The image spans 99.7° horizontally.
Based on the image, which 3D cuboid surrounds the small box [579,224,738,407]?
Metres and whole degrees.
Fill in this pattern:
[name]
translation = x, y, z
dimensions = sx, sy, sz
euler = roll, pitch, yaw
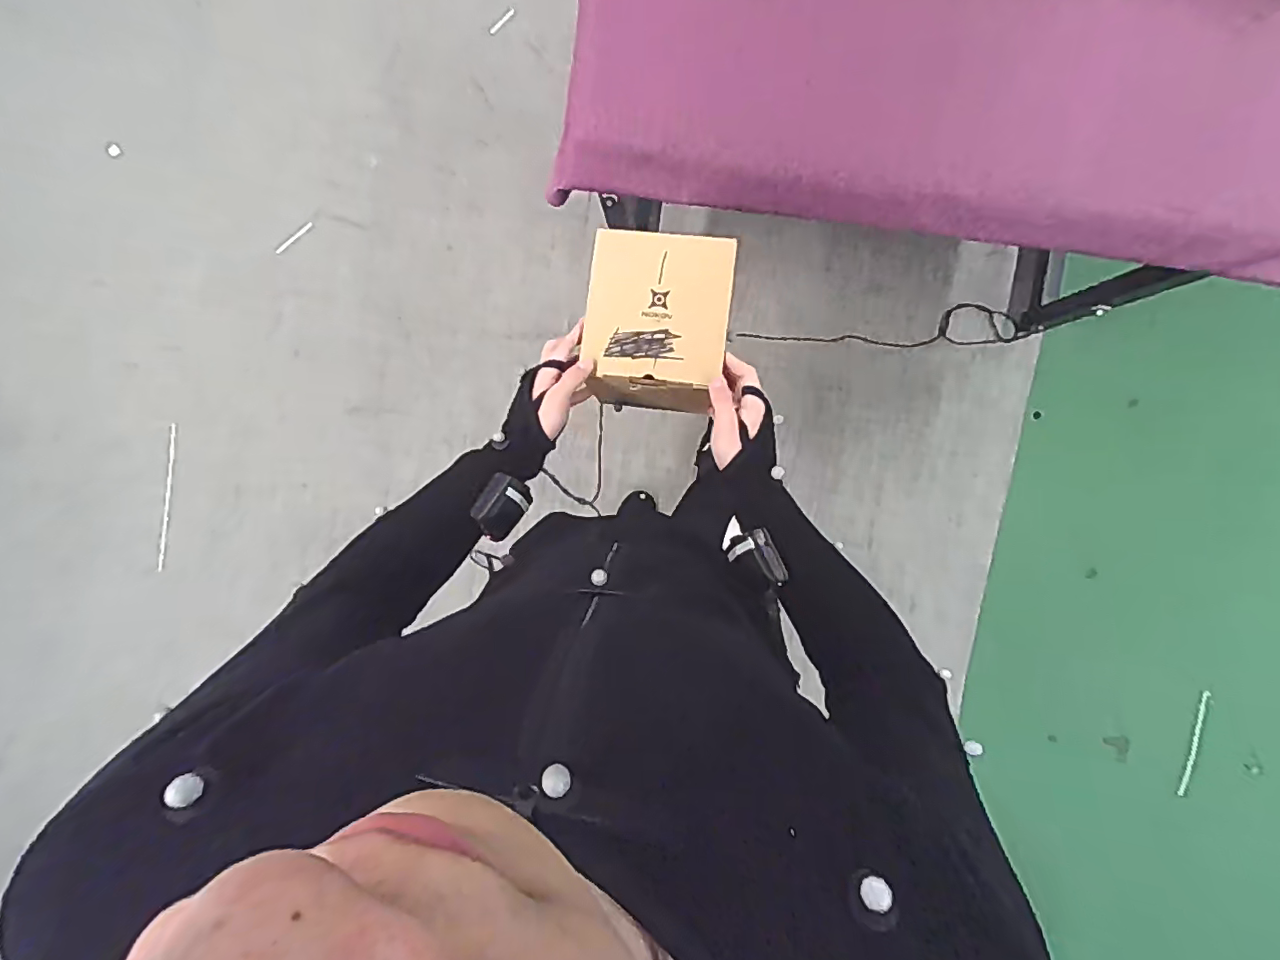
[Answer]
[small box]
translation = 0.027, -0.198, 0.697
dimensions = 0.168, 0.176, 0.179
euler = 7, 87, 4
